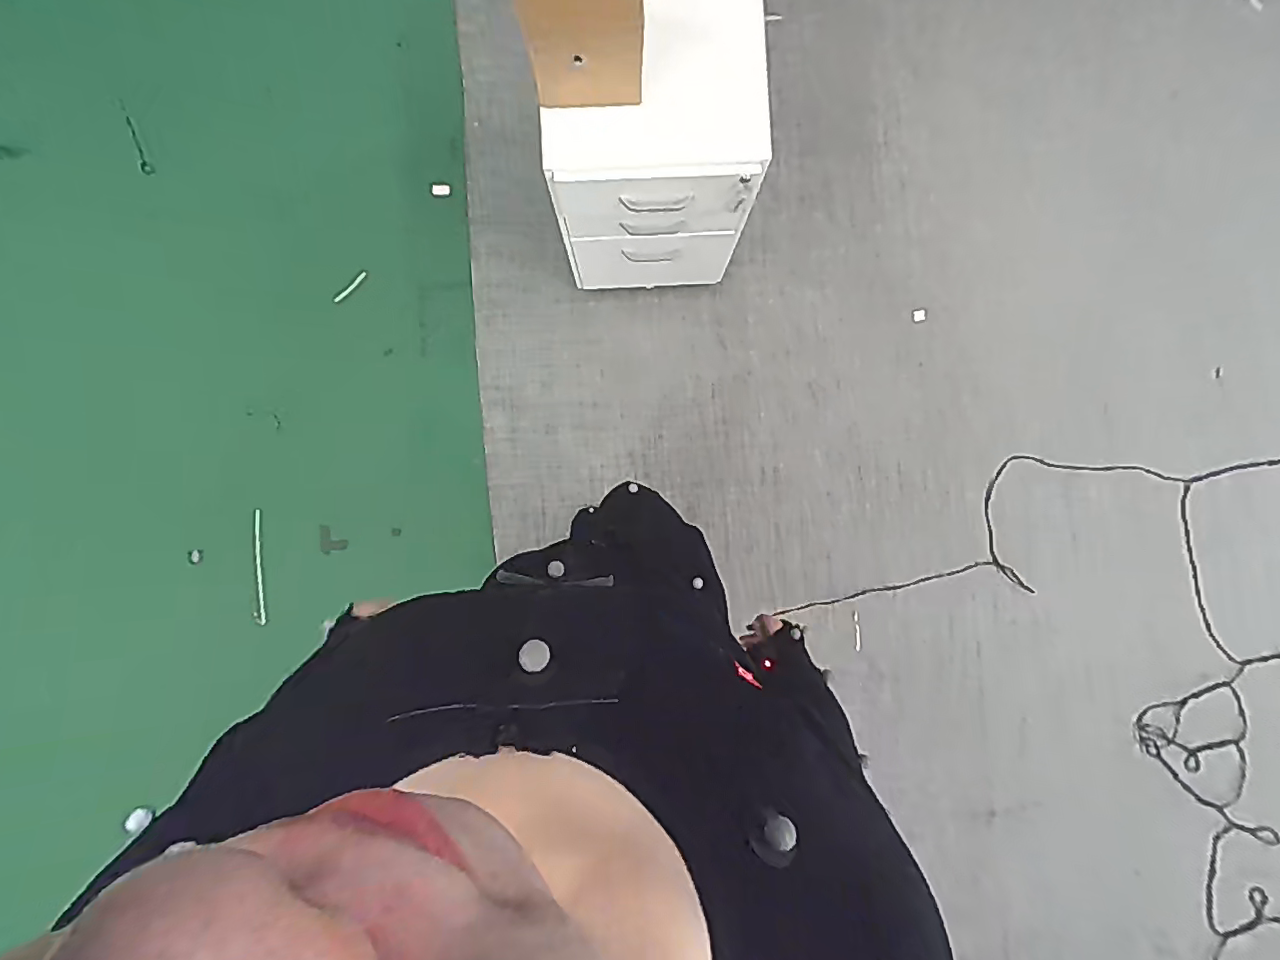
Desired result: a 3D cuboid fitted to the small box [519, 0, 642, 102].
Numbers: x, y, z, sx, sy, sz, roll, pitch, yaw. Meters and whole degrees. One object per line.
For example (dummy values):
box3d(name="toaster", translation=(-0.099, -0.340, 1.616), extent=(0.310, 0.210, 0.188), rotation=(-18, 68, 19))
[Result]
box3d(name="small box", translation=(-0.088, -0.725, 0.841), extent=(0.179, 0.176, 0.168), rotation=(-3, 90, -1))

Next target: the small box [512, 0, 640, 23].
box3d(name="small box", translation=(-0.089, -0.720, 0.678), extent=(0.179, 0.176, 0.168), rotation=(-4, 89, -2))
